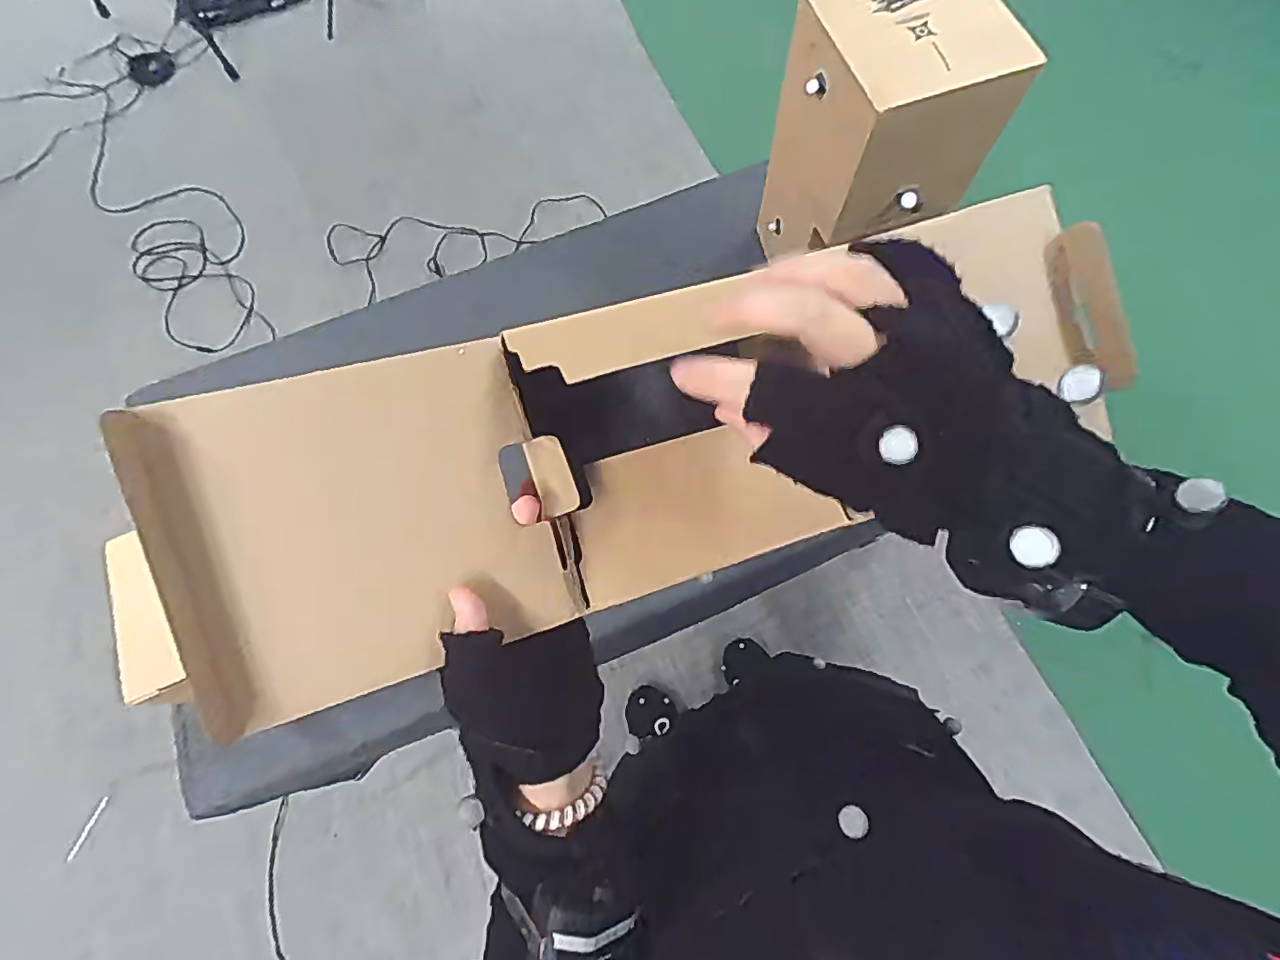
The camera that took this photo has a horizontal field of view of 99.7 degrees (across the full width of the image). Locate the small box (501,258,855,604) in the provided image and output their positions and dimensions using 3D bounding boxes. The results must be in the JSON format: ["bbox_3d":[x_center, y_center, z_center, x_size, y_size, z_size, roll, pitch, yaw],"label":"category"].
[{"bbox_3d":[0.014,-0.031,0.387,0.179,0.176,0.168,-17,94,-10],"label":"small box"}]

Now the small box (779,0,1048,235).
[{"bbox_3d":[0.265,-0.404,0.578,0.168,0.176,0.179,-18,72,-2],"label":"small box"}]

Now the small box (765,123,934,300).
[{"bbox_3d":[0.277,-0.371,0.740,0.179,0.176,0.168,-11,72,0],"label":"small box"}]
